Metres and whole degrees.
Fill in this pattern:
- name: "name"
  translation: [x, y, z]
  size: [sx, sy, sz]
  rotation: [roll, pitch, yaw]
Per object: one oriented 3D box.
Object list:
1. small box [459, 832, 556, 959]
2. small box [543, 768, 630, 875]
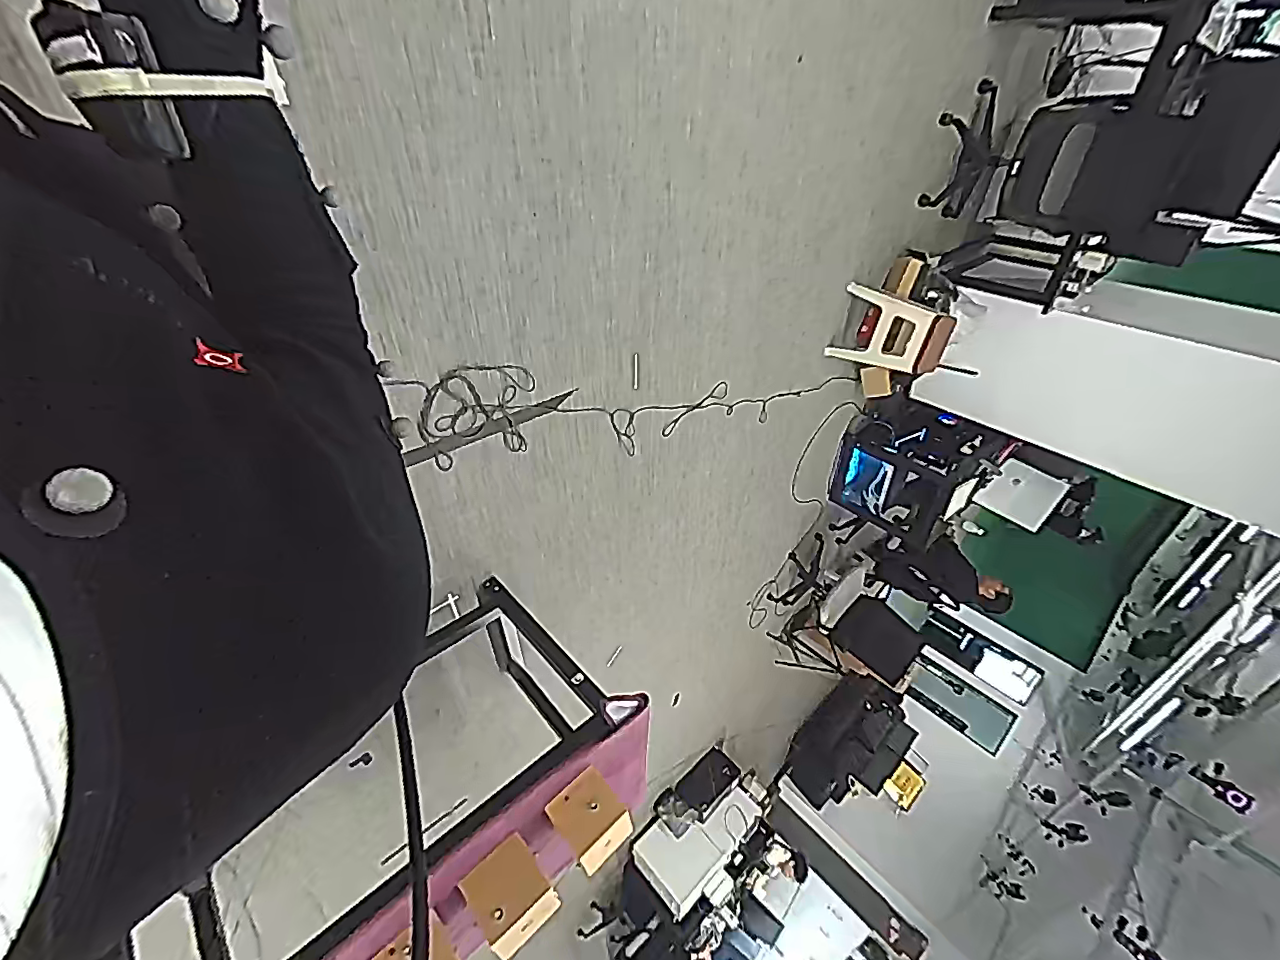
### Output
- name: "small box"
  translation: [-0.339, 1.050, 1.371]
  size: [0.179, 0.176, 0.168]
  rotation: [-31, 138, -30]
- name: "small box"
  translation: [-0.150, 0.944, 1.508]
  size: [0.168, 0.176, 0.179]
  rotation: [-34, 139, -28]
